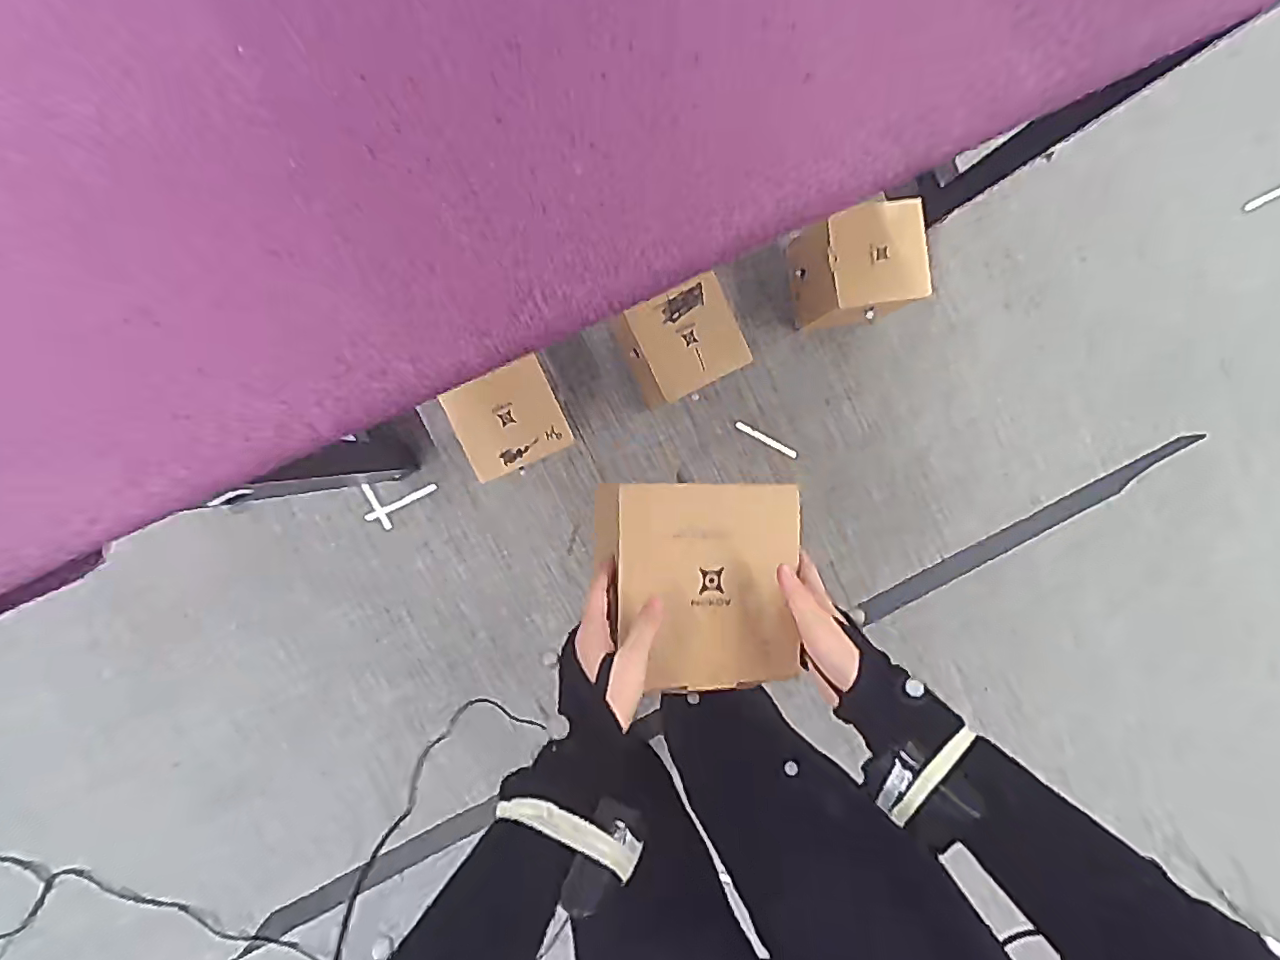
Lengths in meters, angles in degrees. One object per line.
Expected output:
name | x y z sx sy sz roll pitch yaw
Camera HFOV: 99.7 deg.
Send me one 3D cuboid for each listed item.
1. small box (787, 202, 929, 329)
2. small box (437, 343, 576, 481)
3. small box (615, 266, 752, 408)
small box | 0.391 -0.384 0.992 0.179 0.176 0.168 -10 94 -6
small box | -0.219 -0.107 0.926 0.168 0.176 0.179 -24 94 -5
small box | 0.067 -0.241 0.956 0.168 0.176 0.179 -27 96 -5
